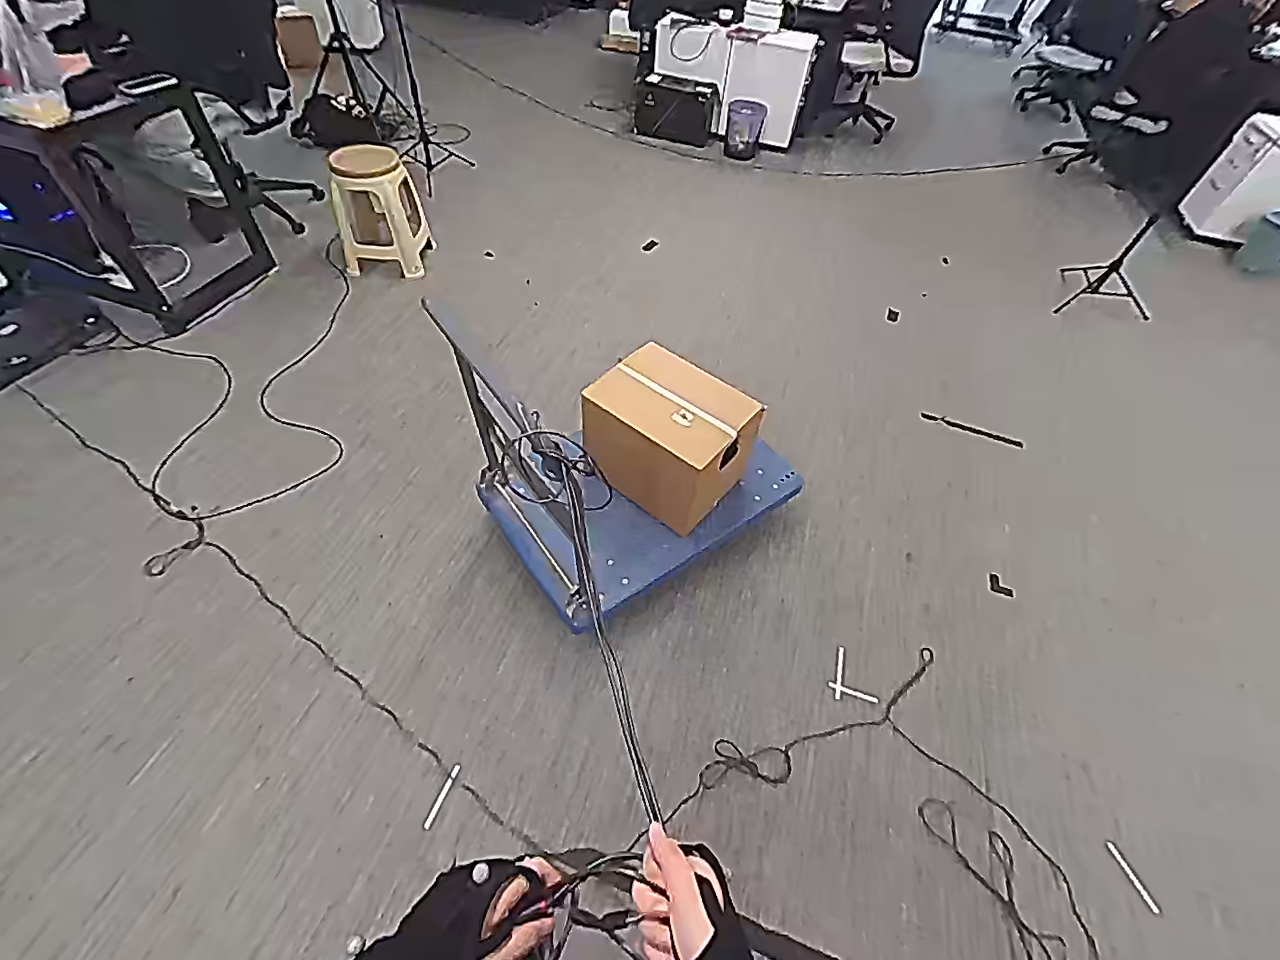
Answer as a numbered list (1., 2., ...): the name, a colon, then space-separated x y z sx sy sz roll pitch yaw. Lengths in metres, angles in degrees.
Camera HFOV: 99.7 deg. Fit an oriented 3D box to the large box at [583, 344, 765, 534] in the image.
1. large box: 0.081 -0.122 1.572 0.408 0.320 0.320 35 58 20
